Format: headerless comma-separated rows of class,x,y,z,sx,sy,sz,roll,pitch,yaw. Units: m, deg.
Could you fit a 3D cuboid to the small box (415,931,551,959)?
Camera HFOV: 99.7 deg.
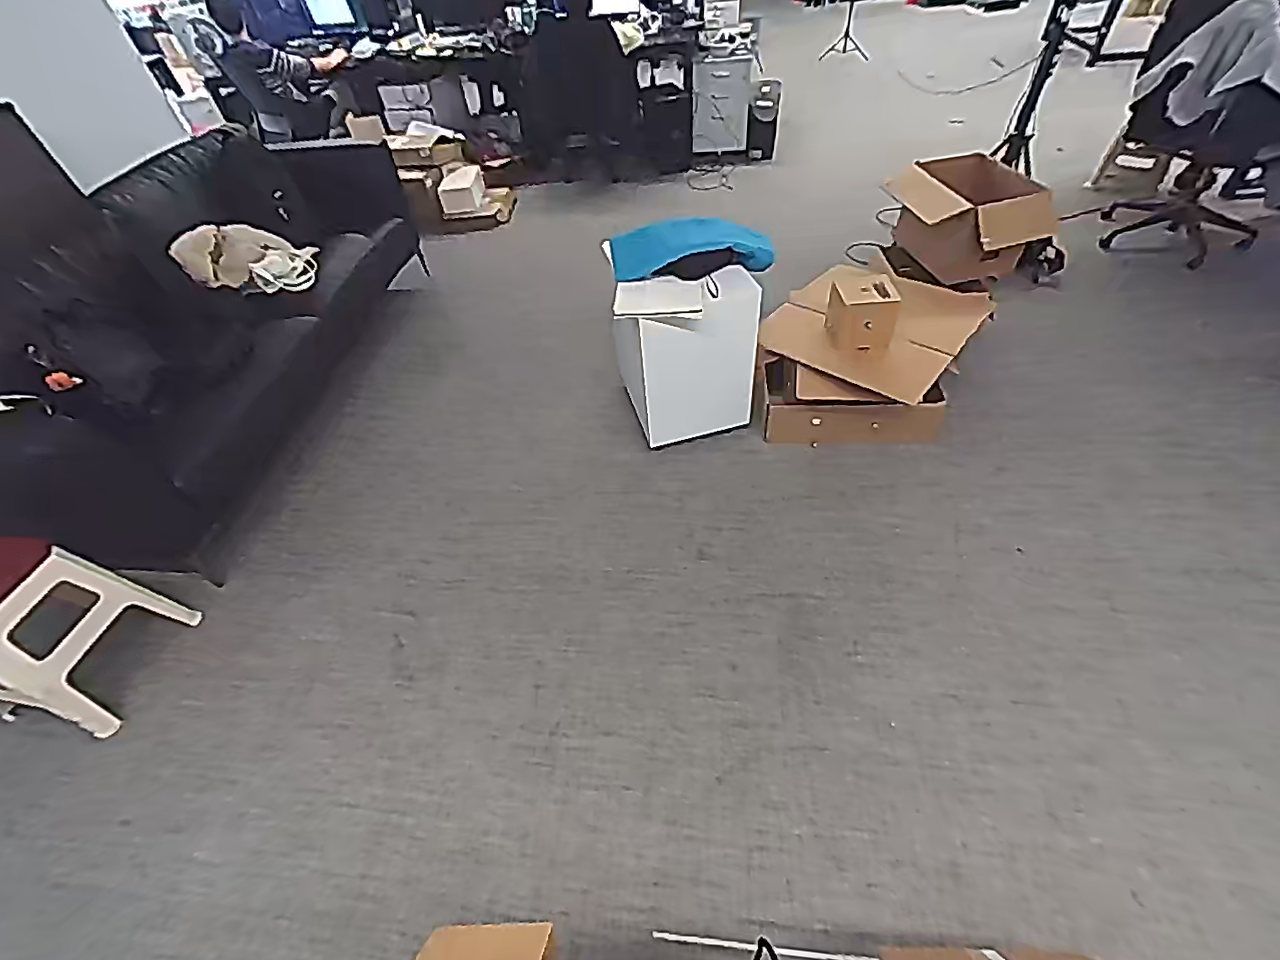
small box,-0.203,0.680,0.634,0.168,0.179,0.176,-5,82,3
